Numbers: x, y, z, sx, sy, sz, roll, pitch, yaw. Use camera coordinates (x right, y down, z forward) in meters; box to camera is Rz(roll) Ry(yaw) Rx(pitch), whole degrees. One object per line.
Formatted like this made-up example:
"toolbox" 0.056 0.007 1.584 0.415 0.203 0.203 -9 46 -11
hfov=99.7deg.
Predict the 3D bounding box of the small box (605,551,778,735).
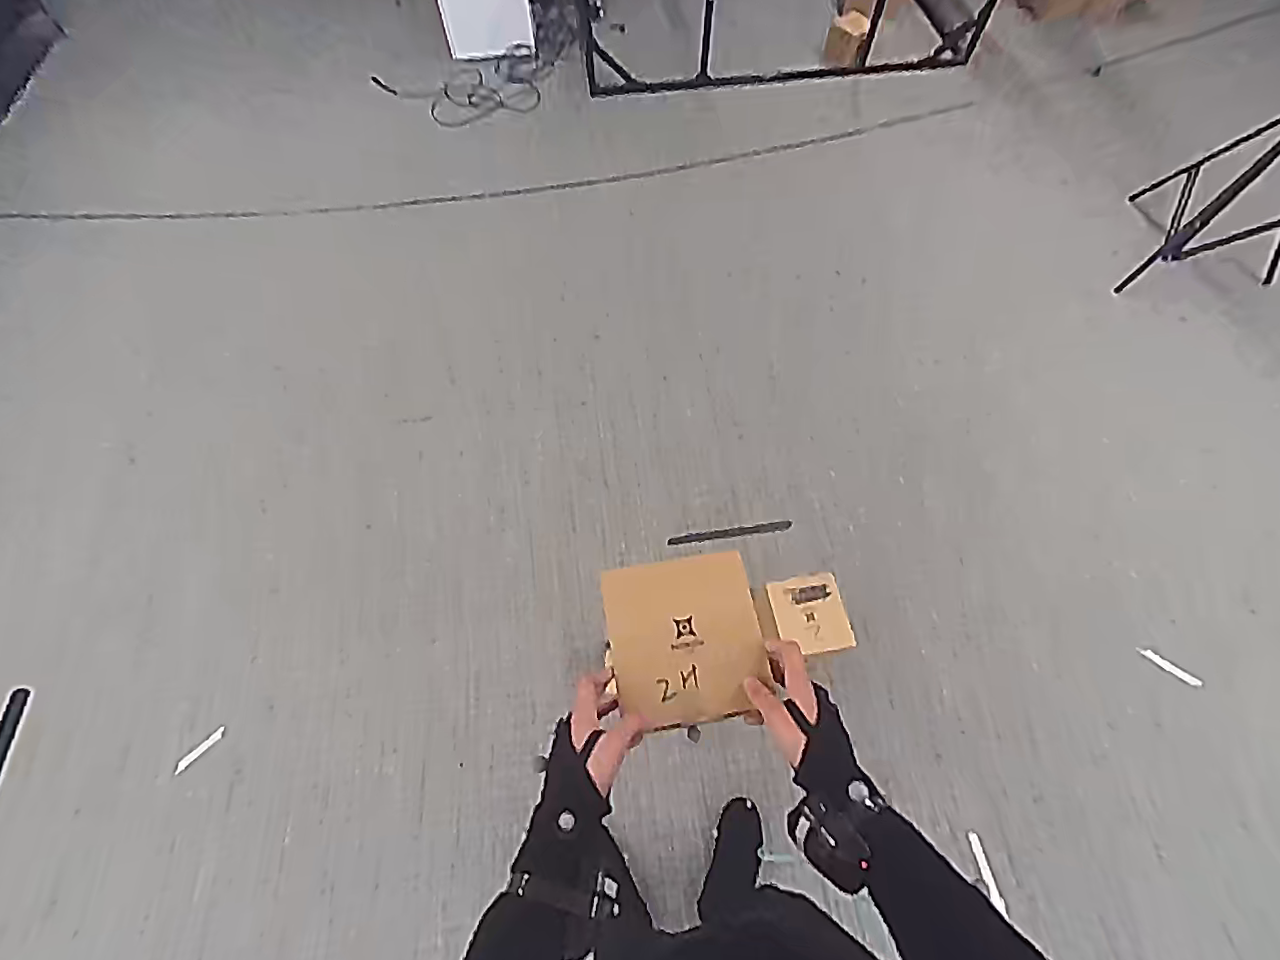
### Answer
"small box" 0.051 0.205 0.662 0.168 0.176 0.179 -9 65 -4

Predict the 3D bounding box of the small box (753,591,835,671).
"small box" 0.394 0.413 1.457 0.179 0.176 0.168 -8 64 -4

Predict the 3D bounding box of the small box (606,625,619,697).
"small box" 0.006 0.481 1.428 0.179 0.176 0.168 0 64 2
